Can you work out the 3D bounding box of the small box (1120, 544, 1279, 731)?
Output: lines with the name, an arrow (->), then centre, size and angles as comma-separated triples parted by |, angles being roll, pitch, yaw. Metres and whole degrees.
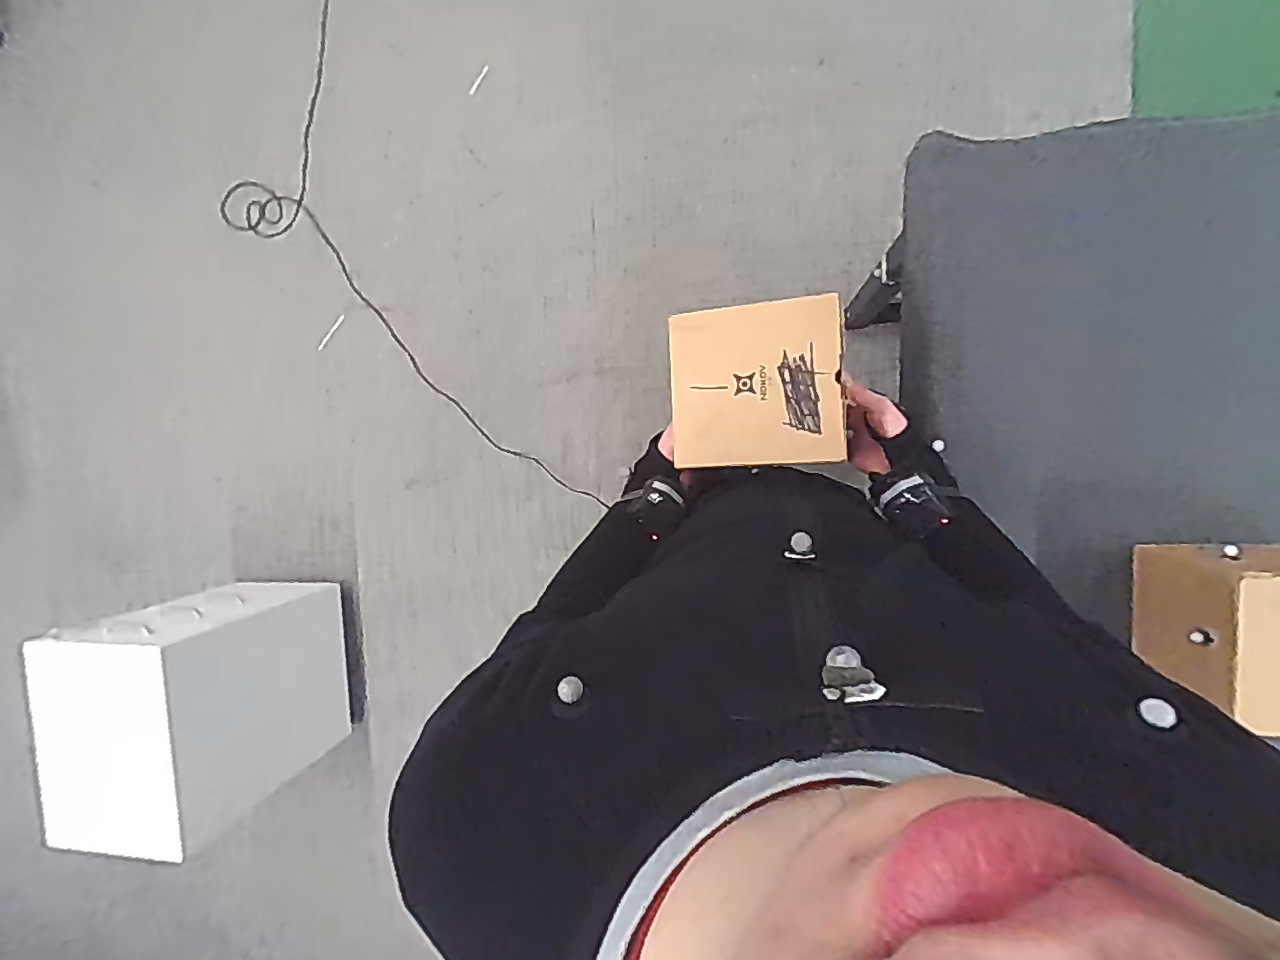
small box -> 0.719, 0.174, 0.642 | 0.168, 0.176, 0.179 | -1, 95, 12
